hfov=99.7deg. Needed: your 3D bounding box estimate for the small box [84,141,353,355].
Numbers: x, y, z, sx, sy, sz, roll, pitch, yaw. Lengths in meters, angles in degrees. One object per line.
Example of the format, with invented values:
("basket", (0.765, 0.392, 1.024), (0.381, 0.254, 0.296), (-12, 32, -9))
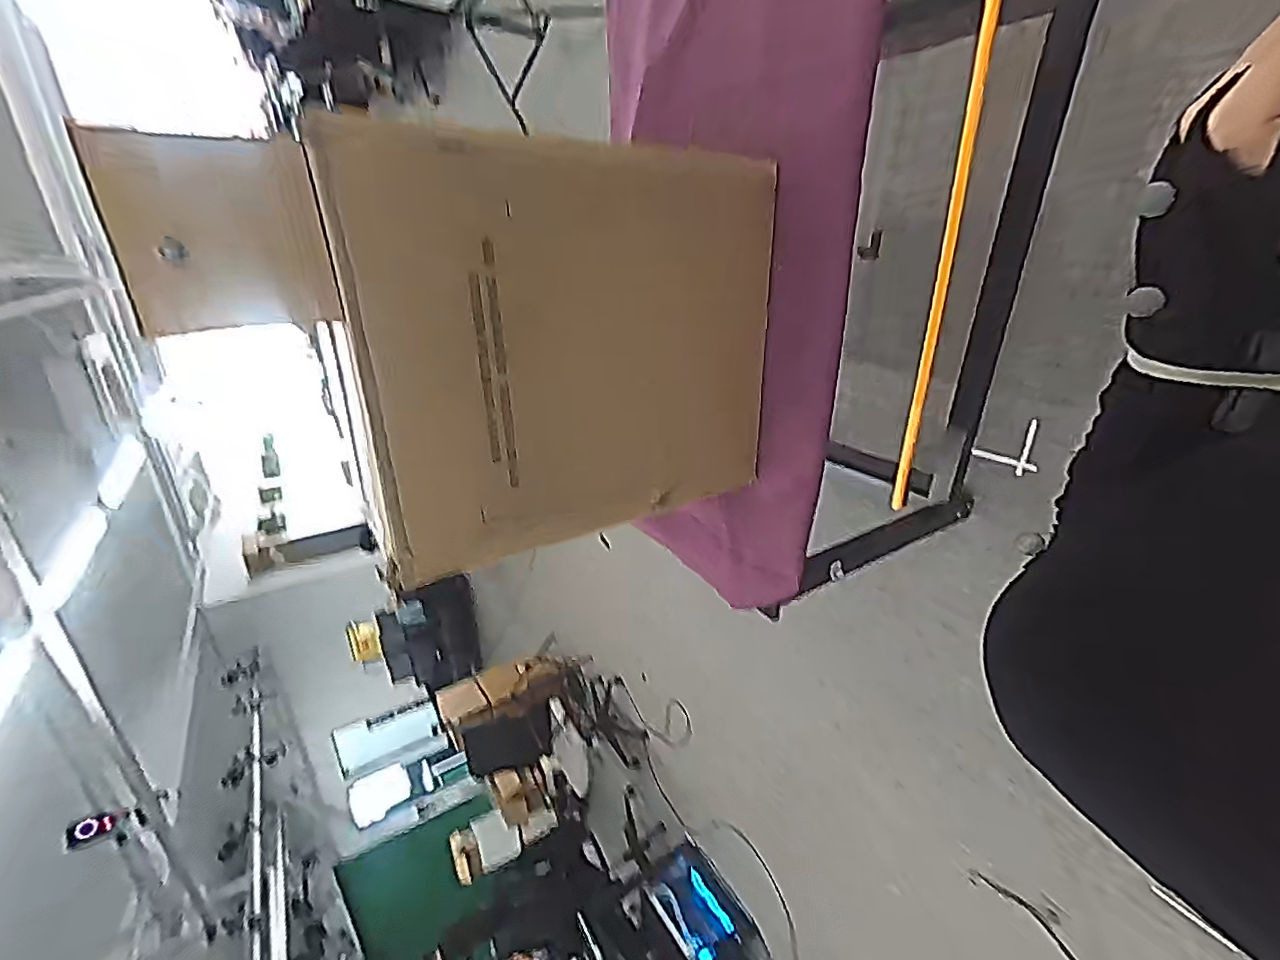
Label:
("small box", (-0.418, -0.237, 0.570), (0.168, 0.176, 0.179), (26, 125, 53))
